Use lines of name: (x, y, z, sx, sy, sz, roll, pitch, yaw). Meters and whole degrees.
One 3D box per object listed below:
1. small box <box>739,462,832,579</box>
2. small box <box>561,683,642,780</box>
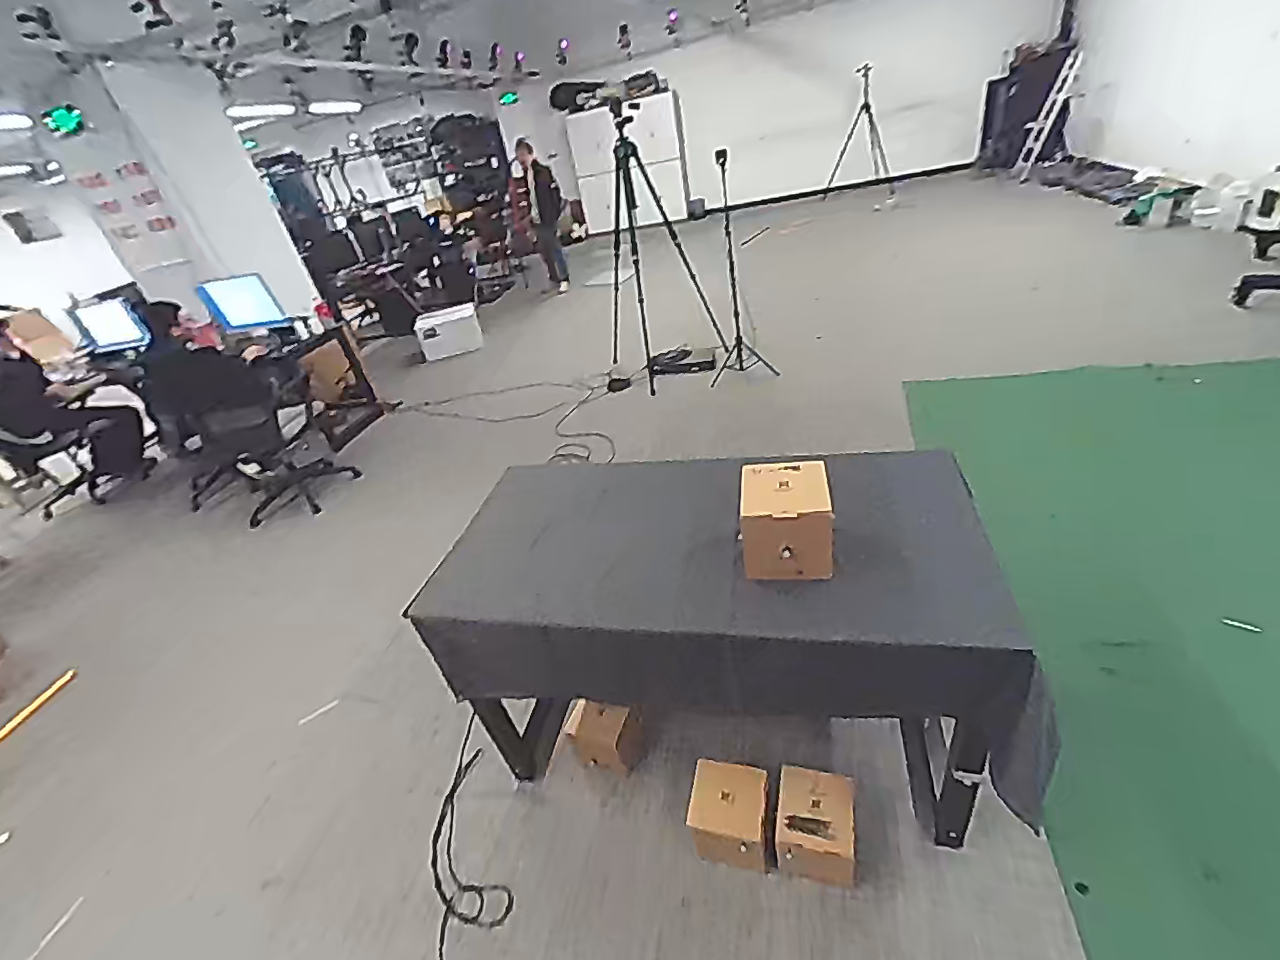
small box: (0.293, 0.084, 1.090, 0.168, 0.176, 0.179, -3, 34, 15)
small box: (-0.103, 0.733, 1.582, 0.168, 0.176, 0.179, 2, 35, 24)
